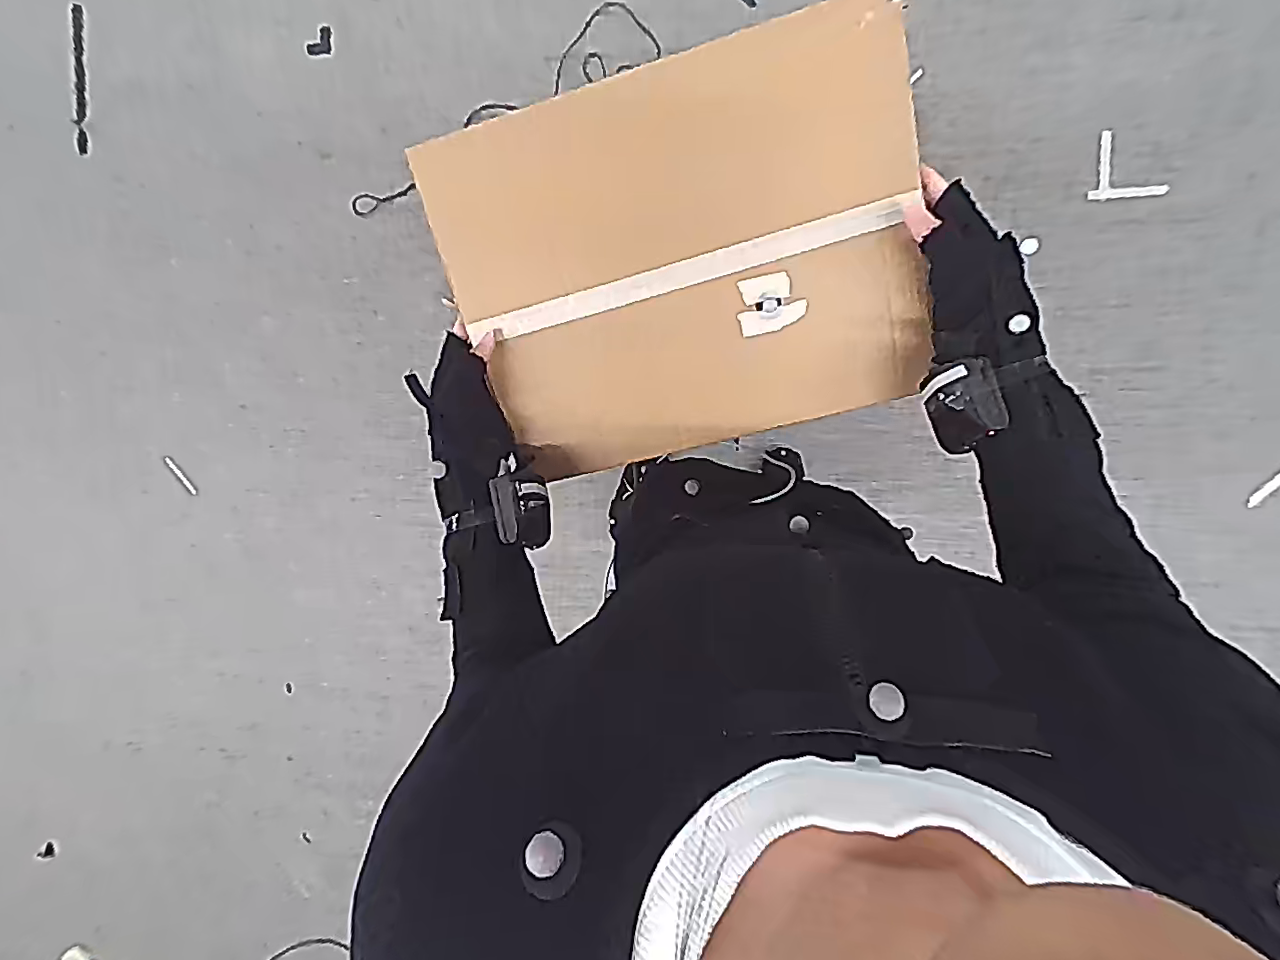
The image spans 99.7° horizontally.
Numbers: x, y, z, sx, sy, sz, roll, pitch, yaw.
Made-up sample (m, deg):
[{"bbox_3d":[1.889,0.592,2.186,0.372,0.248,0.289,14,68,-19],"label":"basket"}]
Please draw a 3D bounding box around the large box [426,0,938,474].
[{"bbox_3d":[0.050,-0.238,0.621,0.408,0.320,0.320,-14,107,8],"label":"large box"}]
